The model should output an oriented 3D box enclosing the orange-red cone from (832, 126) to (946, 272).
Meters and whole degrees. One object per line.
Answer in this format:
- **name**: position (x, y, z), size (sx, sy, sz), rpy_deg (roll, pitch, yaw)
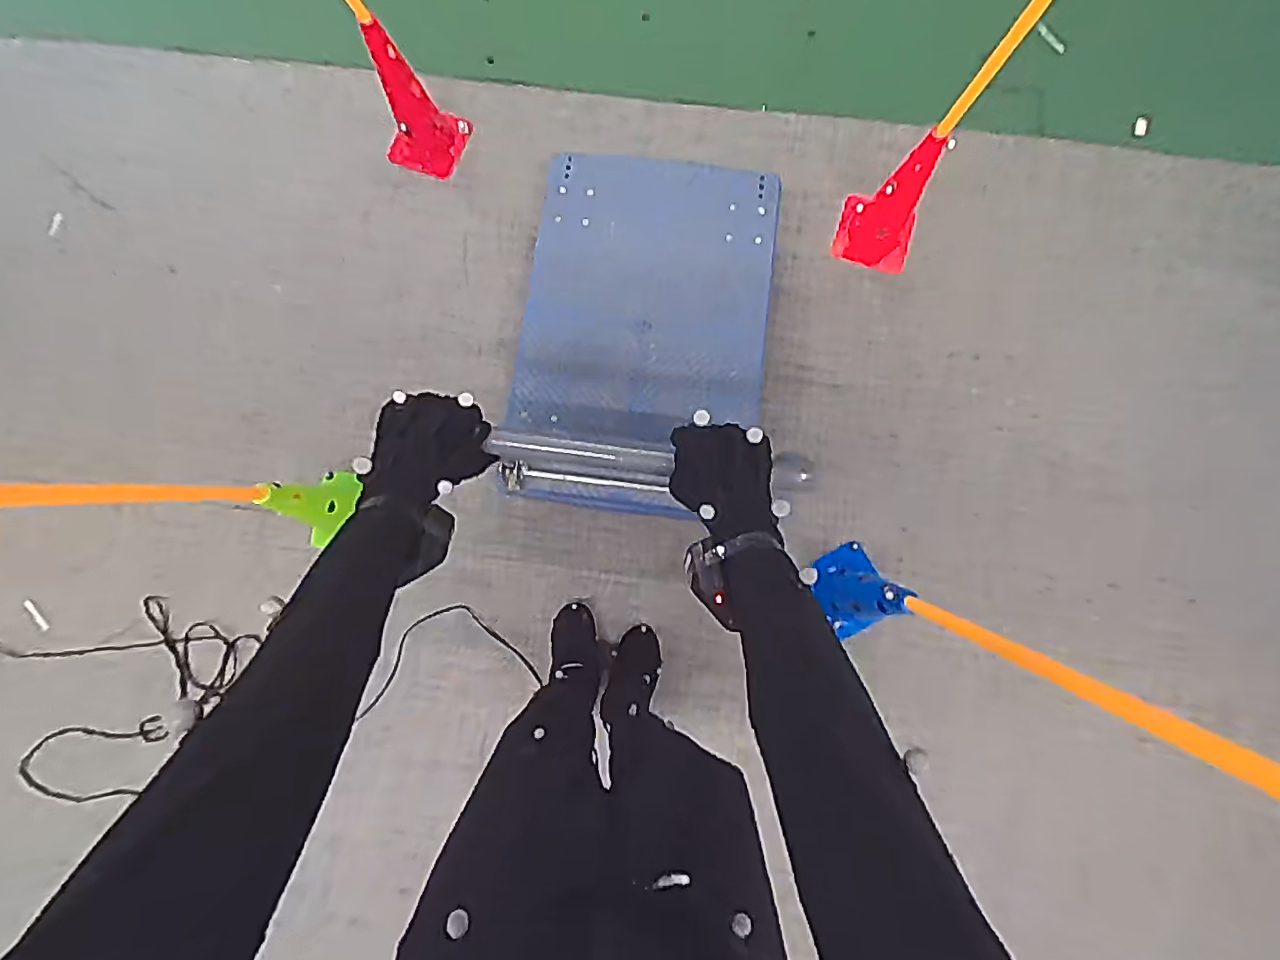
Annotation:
- **orange-red cone**: position (0.641, -0.708, 1.324), size (0.198, 0.360, 0.199), rpy_deg (18, 82, 5)
